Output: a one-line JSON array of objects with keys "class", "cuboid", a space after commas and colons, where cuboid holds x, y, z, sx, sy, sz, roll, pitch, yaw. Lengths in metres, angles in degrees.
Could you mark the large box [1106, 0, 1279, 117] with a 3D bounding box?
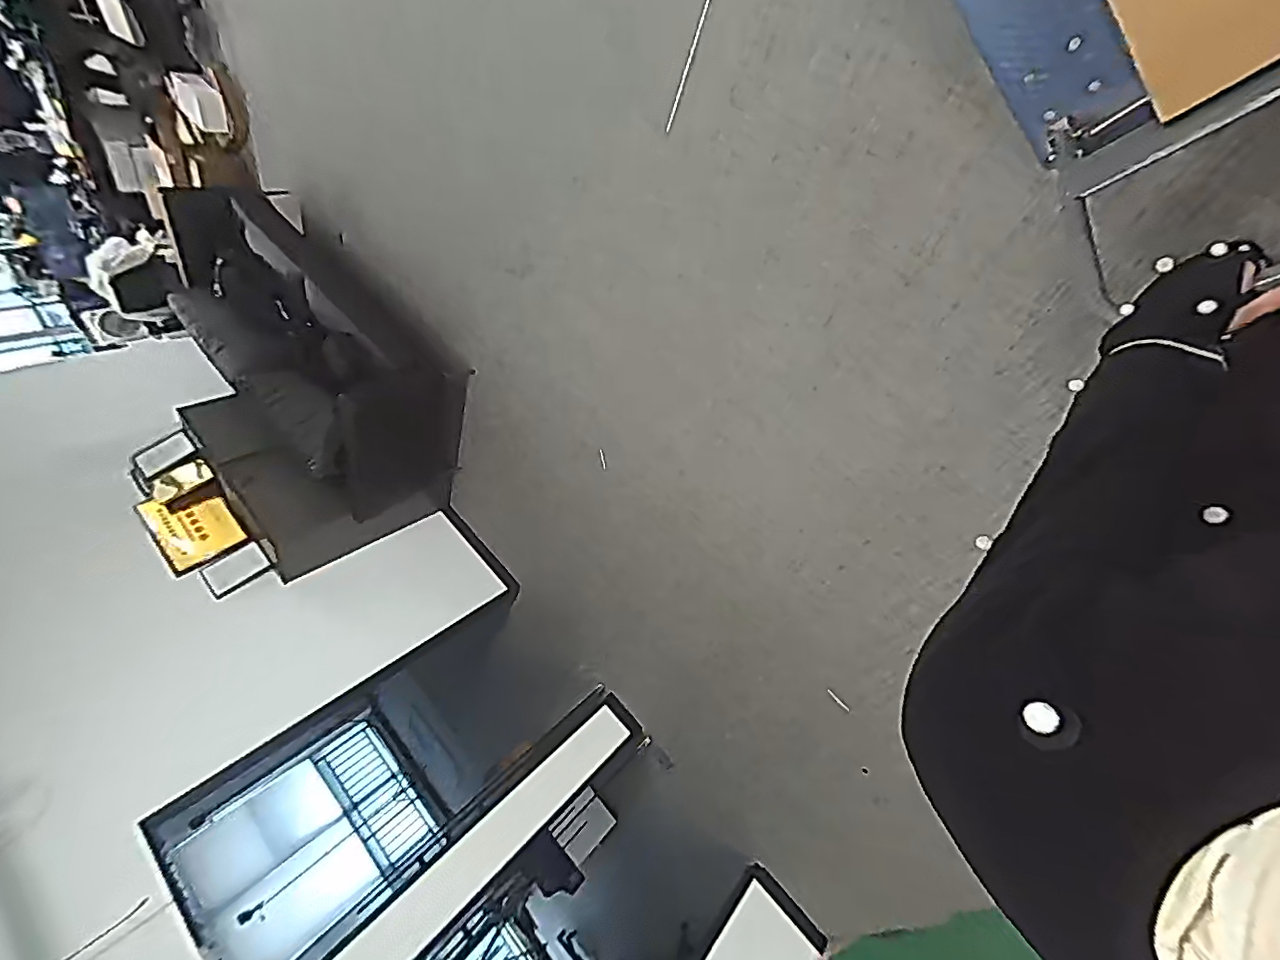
[{"class": "large box", "cuboid": [0.780, -0.785, 0.692, 0.408, 0.320, 0.320, 49, 140, -15]}]
